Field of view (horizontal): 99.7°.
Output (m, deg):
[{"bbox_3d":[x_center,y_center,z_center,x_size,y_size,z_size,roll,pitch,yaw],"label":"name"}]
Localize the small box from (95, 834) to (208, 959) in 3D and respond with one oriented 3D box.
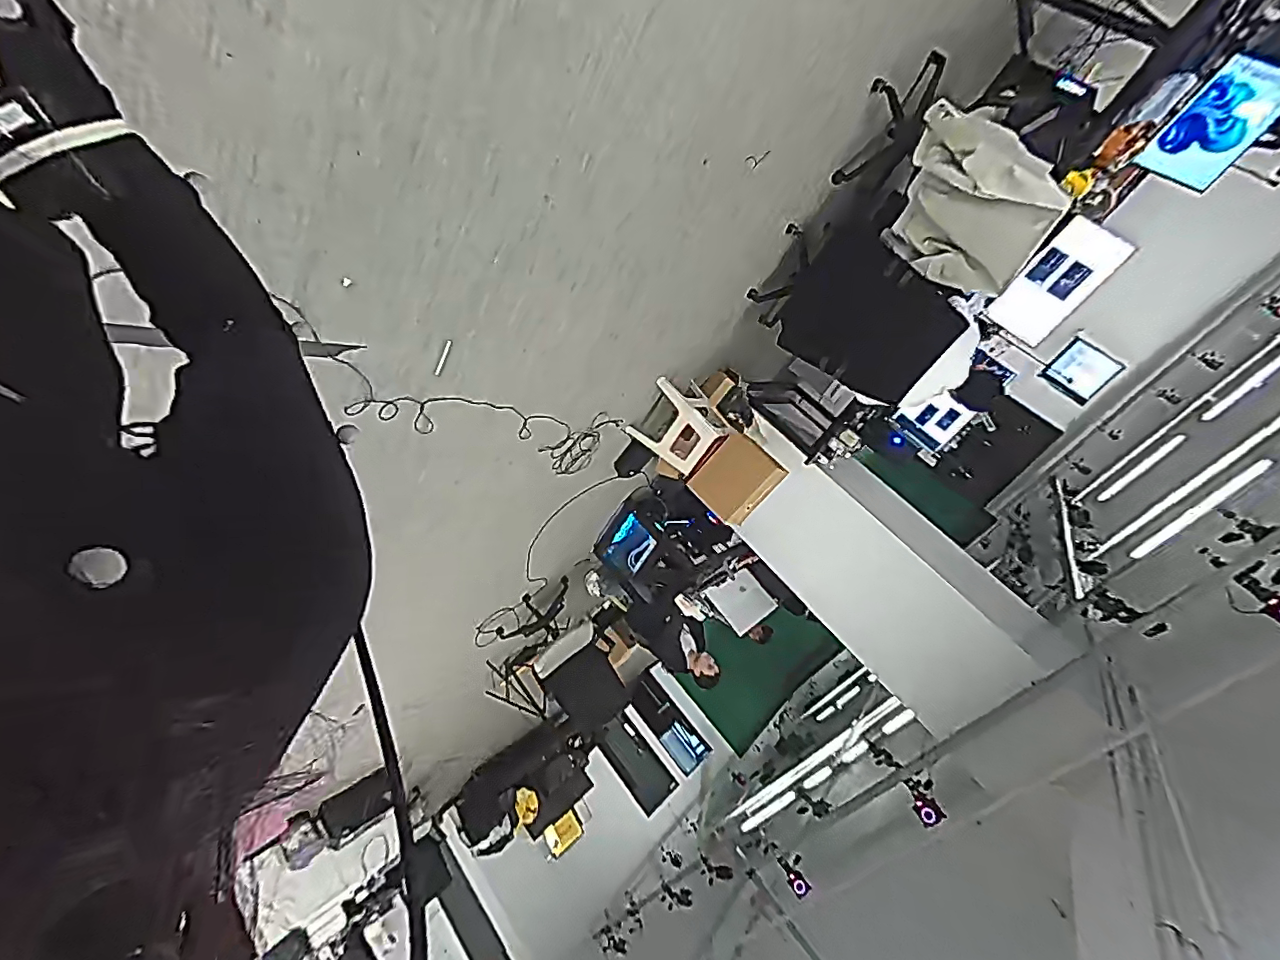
[{"bbox_3d":[-1.207,1.033,1.339,0.179,0.176,0.168,-20,150,-47],"label":"small box"}]
